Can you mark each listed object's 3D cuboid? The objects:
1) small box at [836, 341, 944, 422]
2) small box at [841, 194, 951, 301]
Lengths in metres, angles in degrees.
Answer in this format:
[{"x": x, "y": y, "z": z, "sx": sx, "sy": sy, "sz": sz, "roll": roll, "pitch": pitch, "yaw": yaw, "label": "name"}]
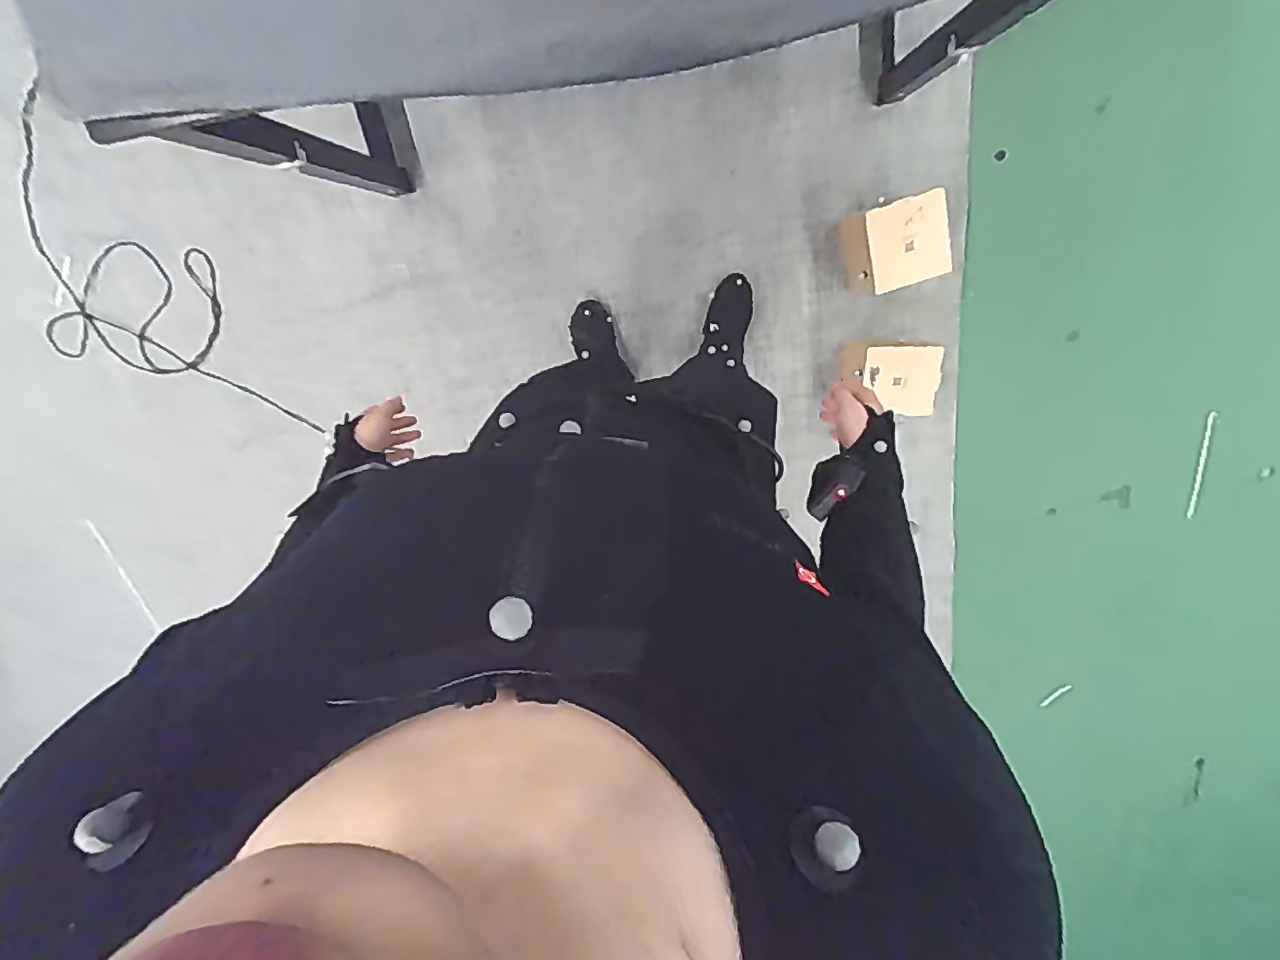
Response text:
[{"x": 0.604, "y": -0.246, "z": 1.326, "sx": 0.179, "sy": 0.176, "sz": 0.168, "roll": 0, "pitch": 112, "yaw": 1, "label": "small box"}, {"x": 0.570, "y": -0.520, "z": 1.218, "sx": 0.168, "sy": 0.176, "sz": 0.179, "roll": -16, "pitch": 110, "yaw": 7, "label": "small box"}]
